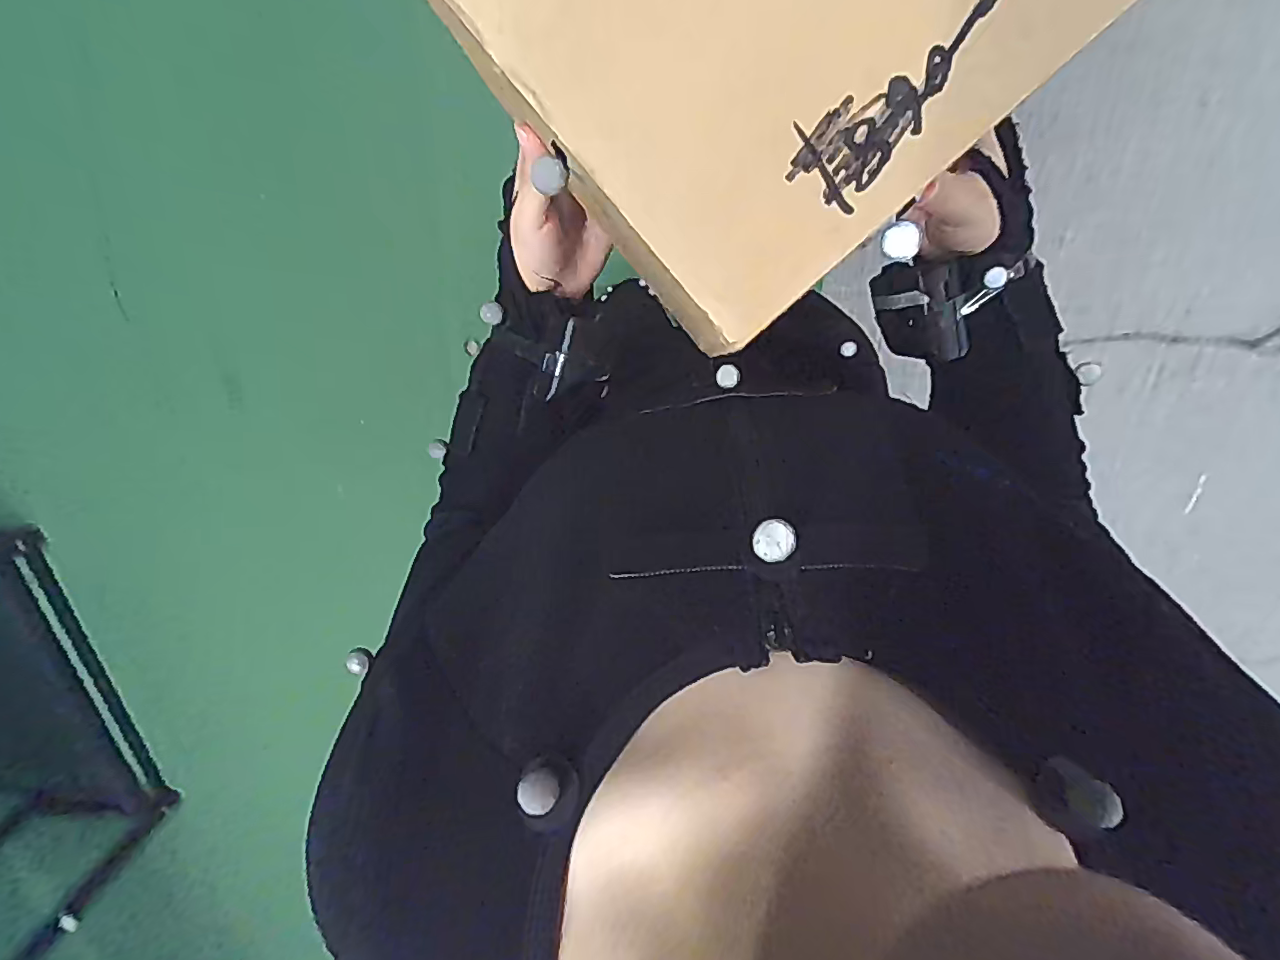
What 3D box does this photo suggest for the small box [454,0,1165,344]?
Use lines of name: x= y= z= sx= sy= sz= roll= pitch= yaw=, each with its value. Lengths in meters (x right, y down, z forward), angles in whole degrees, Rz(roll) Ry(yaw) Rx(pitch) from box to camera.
small box: x=0.047 y=-0.173 z=0.229 sx=0.168 sy=0.176 sz=0.179 roll=-40 pitch=96 yaw=13
